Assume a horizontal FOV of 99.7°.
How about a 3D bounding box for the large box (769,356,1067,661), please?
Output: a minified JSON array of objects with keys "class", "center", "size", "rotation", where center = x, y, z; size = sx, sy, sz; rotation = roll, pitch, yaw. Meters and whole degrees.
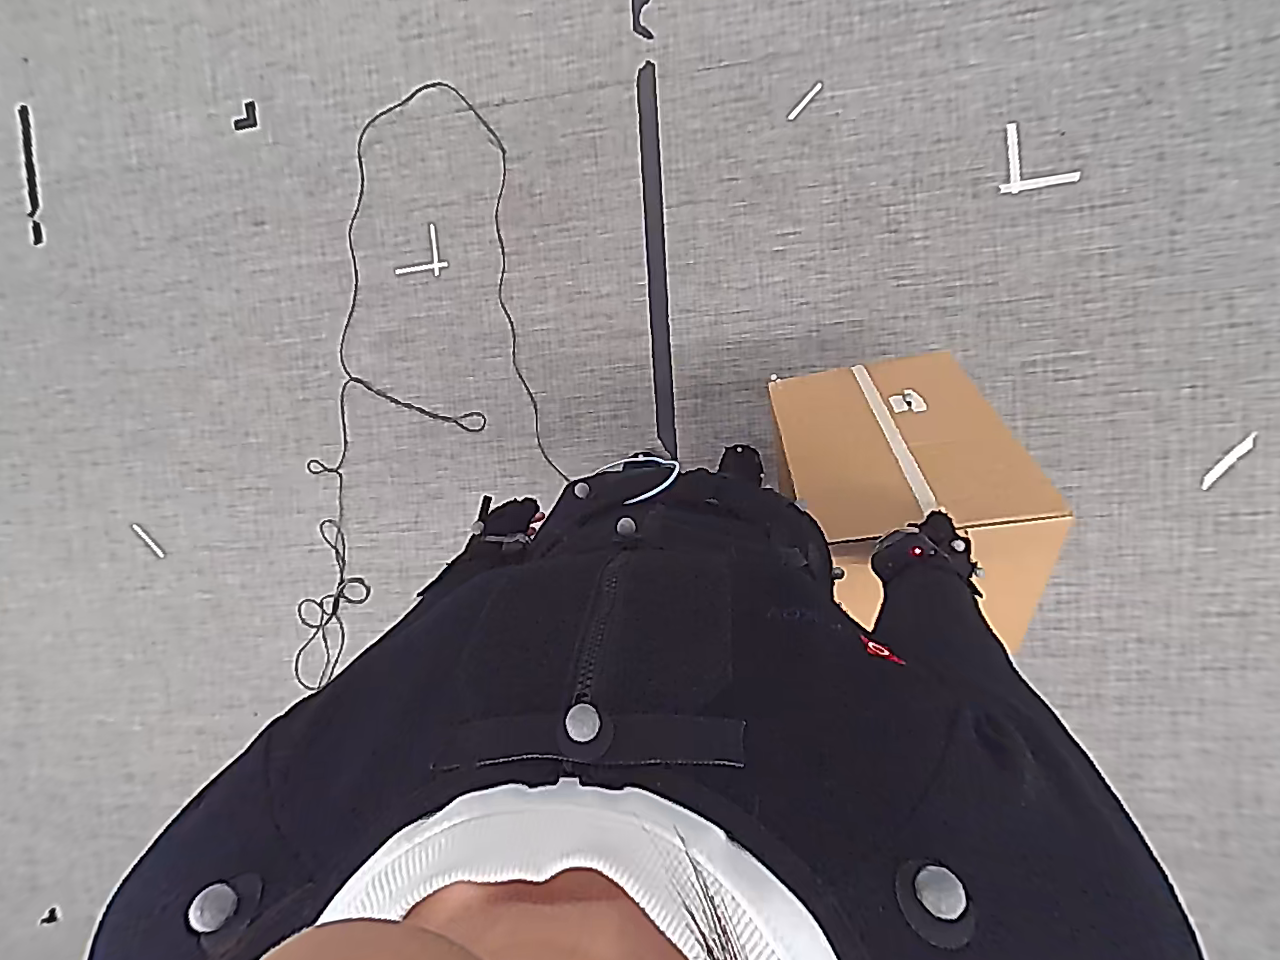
[{"class":"large box","center":[0.419,0.043,0.930],"size":[0.320,0.408,0.320],"rotation":[-8,130,9]}]
